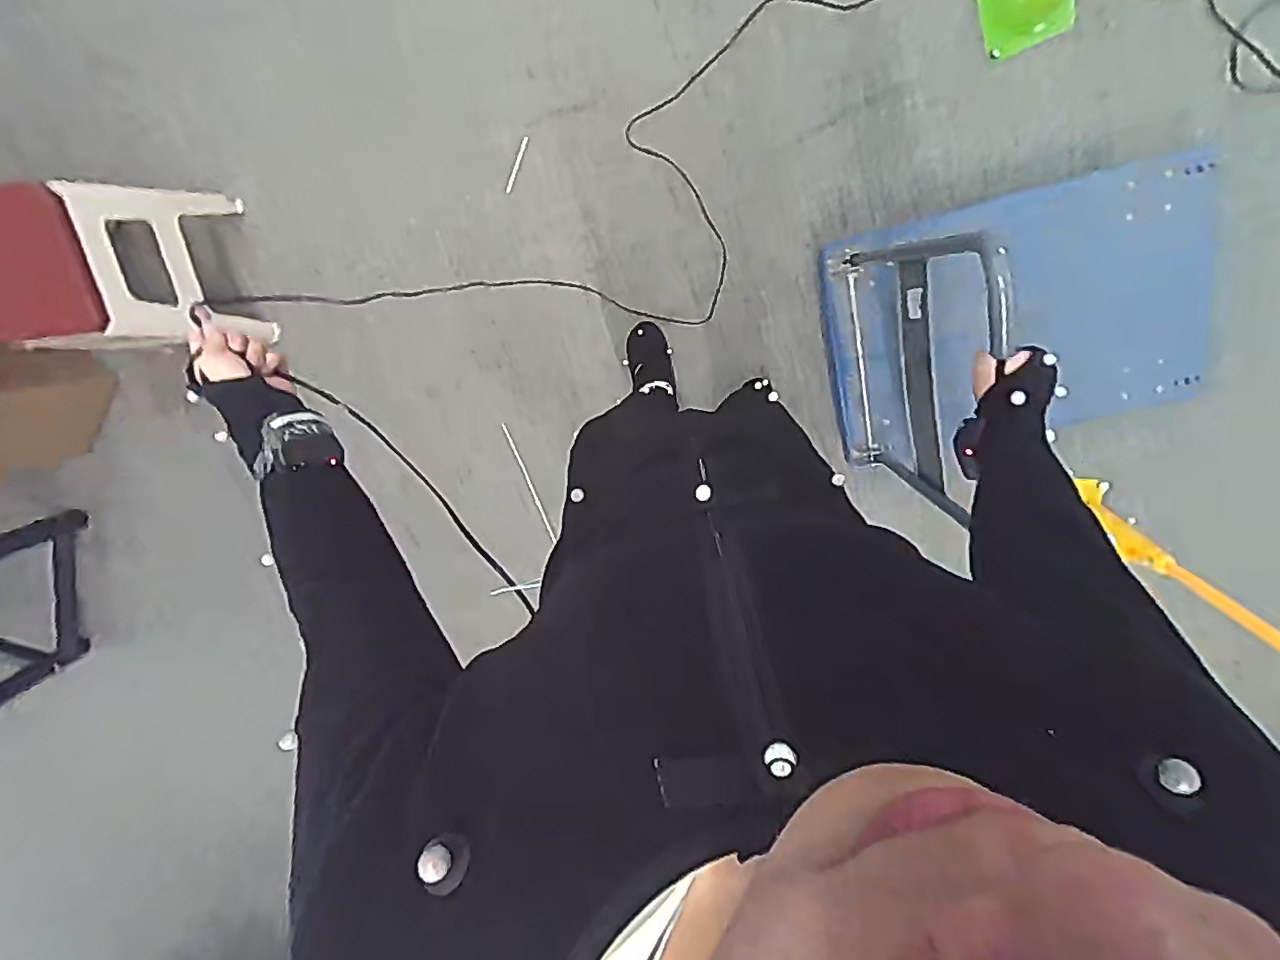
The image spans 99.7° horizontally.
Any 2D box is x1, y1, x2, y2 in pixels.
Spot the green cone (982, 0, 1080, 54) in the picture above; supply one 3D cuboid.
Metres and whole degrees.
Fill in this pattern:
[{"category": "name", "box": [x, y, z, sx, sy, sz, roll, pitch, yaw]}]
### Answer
[{"category": "green cone", "box": [0.874, -1.064, 1.065, 0.200, 0.368, 0.202, -21, 105, 9]}]
